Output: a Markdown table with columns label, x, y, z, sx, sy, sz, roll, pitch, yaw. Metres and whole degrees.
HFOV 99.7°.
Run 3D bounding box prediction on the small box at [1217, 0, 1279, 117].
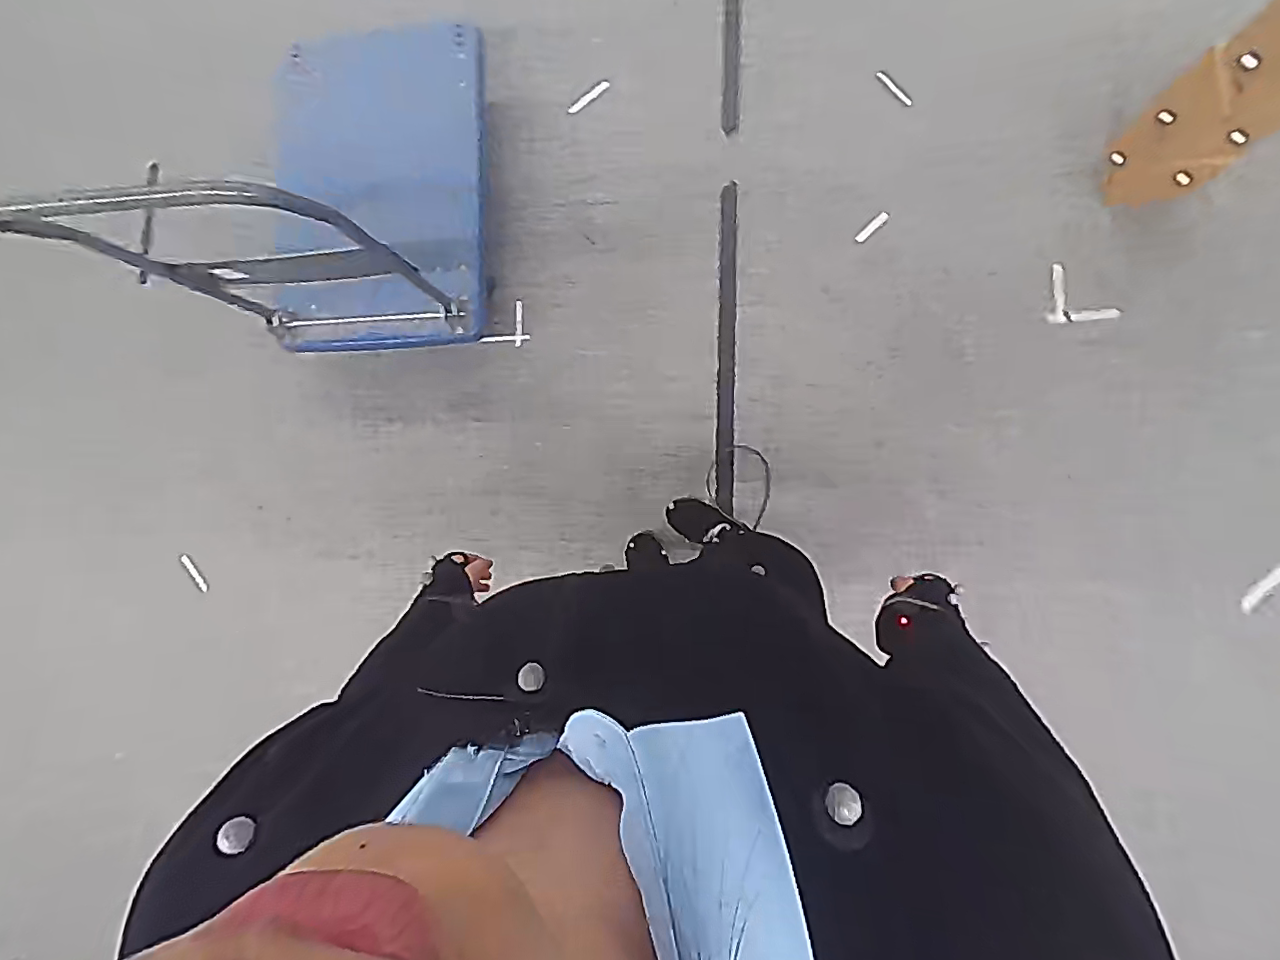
| label | x | y | z | sx | sy | sz | roll | pitch | yaw |
| --- | --- | --- | --- | --- | --- | --- | --- | --- | --- |
| small box | 1.263 | -0.825 | 1.013 | 0.179 | 0.176 | 0.168 | -6 | 85 | 7 |

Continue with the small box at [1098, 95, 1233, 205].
| label | x | y | z | sx | sy | sz | roll | pitch | yaw |
| --- | --- | --- | --- | --- | --- | --- | --- | --- | --- |
| small box | 1.293 | -0.809 | 1.341 | 0.179 | 0.176 | 0.168 | -2 | 86 | 7 |
